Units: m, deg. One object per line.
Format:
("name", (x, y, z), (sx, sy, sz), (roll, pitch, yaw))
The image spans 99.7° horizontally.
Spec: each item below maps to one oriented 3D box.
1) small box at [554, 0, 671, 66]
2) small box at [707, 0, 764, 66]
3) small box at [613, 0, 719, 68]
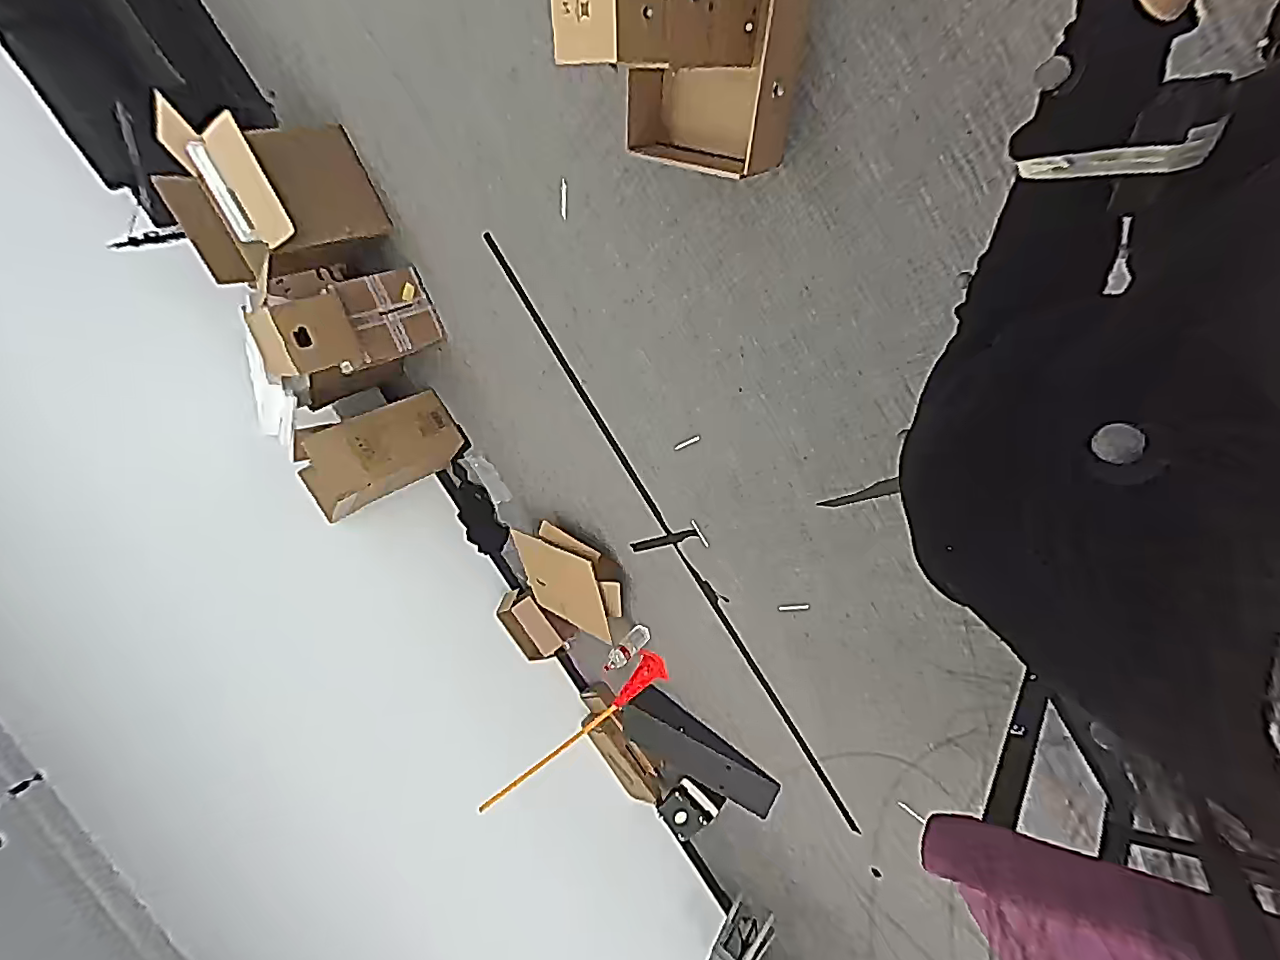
("small box", (-0.049, -0.926, 1.067), (0.179, 0.176, 0.168), (27, 134, 31))
("small box", (0.165, -1.078, 1.262), (0.179, 0.176, 0.168), (30, 137, 28))
("small box", (0.057, -0.999, 1.170), (0.179, 0.176, 0.168), (28, 135, 32))
